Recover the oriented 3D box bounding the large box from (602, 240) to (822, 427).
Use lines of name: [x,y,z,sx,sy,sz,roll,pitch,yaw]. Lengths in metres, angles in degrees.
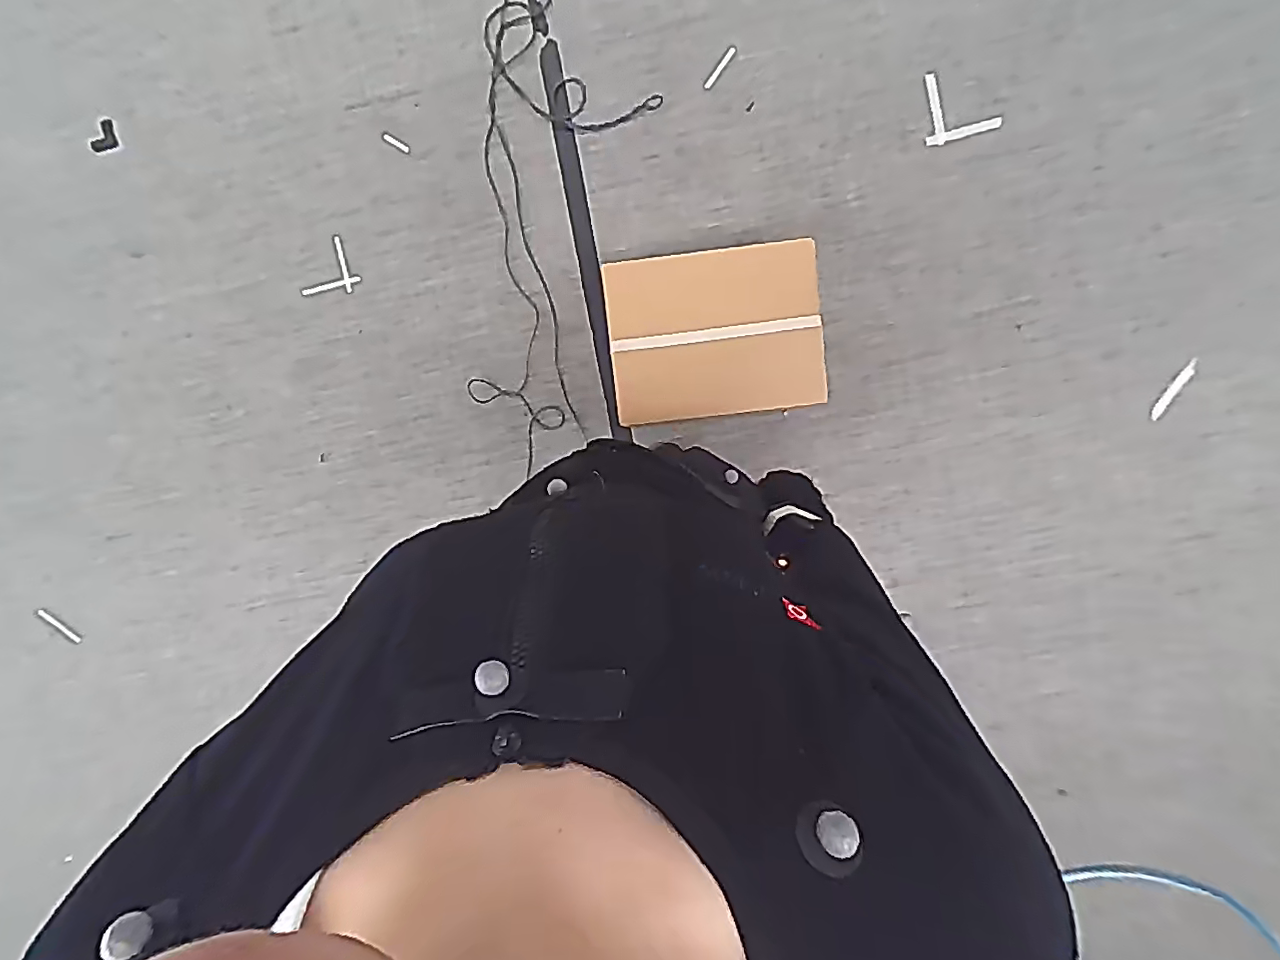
large box: [0.146,-0.295,1.191,0.408,0.320,0.320,-6,94,3]
